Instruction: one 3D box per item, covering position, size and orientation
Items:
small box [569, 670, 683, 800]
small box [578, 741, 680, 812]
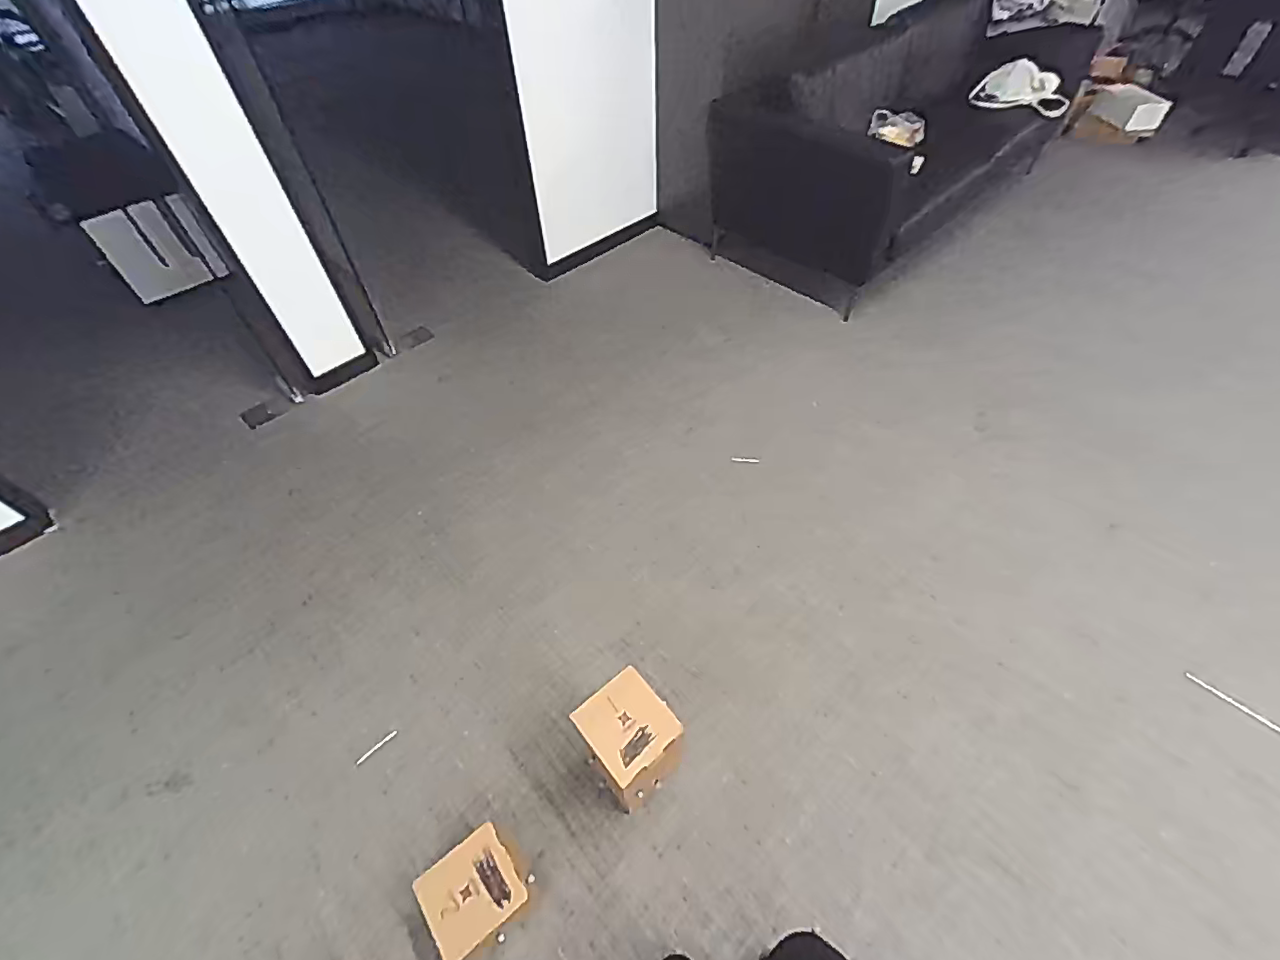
[{"bbox_3d":[-0.026,0.546,1.145,0.168,0.176,0.179,-34,56,-24],"label":"small box"},{"bbox_3d":[-0.022,0.648,1.274,0.168,0.176,0.179,-35,57,-25],"label":"small box"}]
